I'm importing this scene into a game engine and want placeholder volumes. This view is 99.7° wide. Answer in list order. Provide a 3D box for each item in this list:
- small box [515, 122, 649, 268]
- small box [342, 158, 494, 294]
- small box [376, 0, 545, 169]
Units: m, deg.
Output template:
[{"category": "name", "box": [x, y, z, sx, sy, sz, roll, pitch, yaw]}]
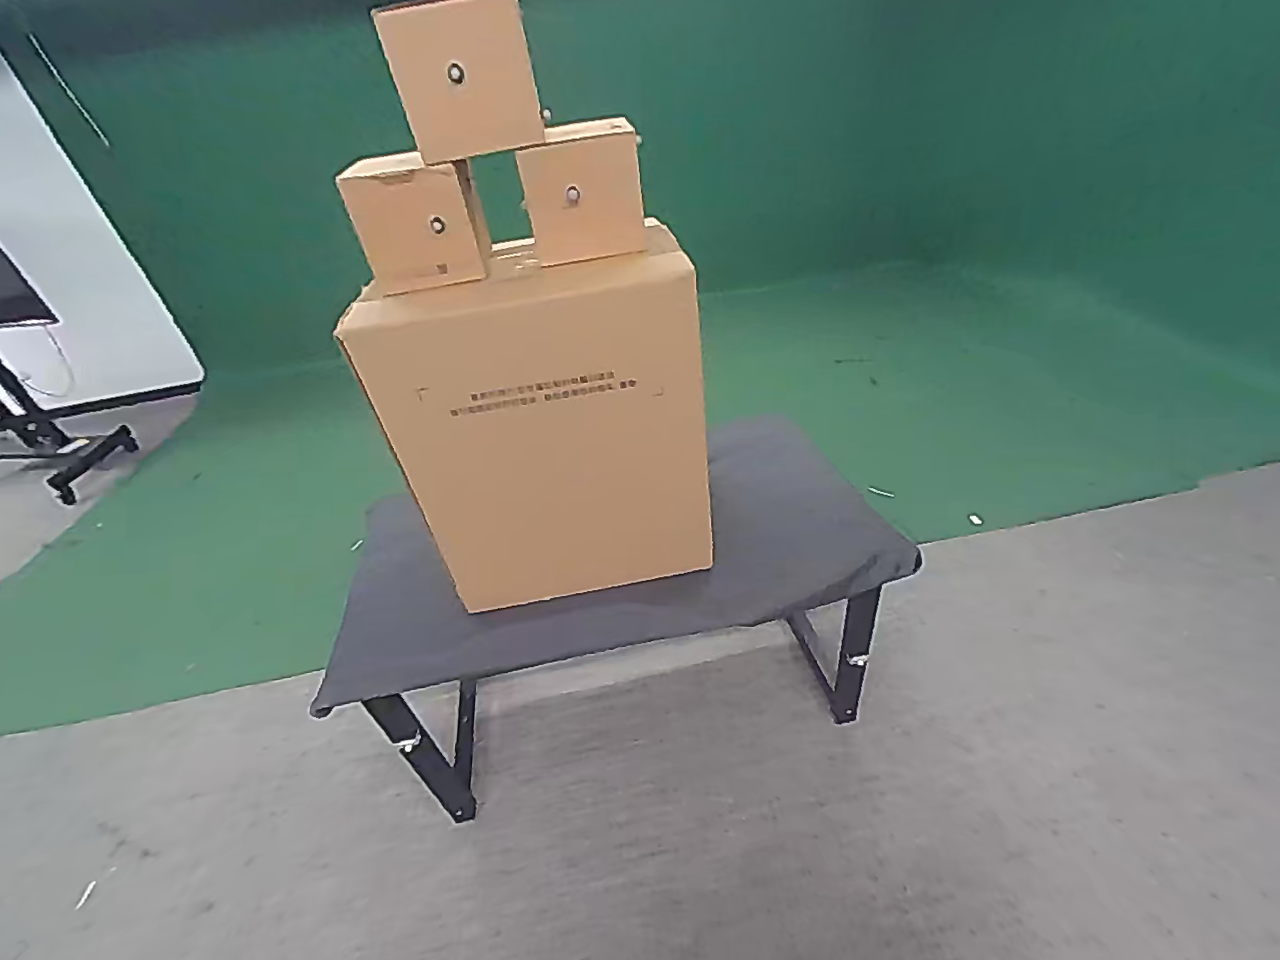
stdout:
[{"category": "small box", "box": [-0.089, -0.460, 0.879, 0.179, 0.176, 0.168, -11, 40, 0]}, {"category": "small box", "box": [-0.341, -0.410, 0.871, 0.168, 0.176, 0.179, -10, 38, -3]}, {"category": "small box", "box": [-0.238, -0.561, 0.771, 0.179, 0.176, 0.168, -13, 39, -1]}]
